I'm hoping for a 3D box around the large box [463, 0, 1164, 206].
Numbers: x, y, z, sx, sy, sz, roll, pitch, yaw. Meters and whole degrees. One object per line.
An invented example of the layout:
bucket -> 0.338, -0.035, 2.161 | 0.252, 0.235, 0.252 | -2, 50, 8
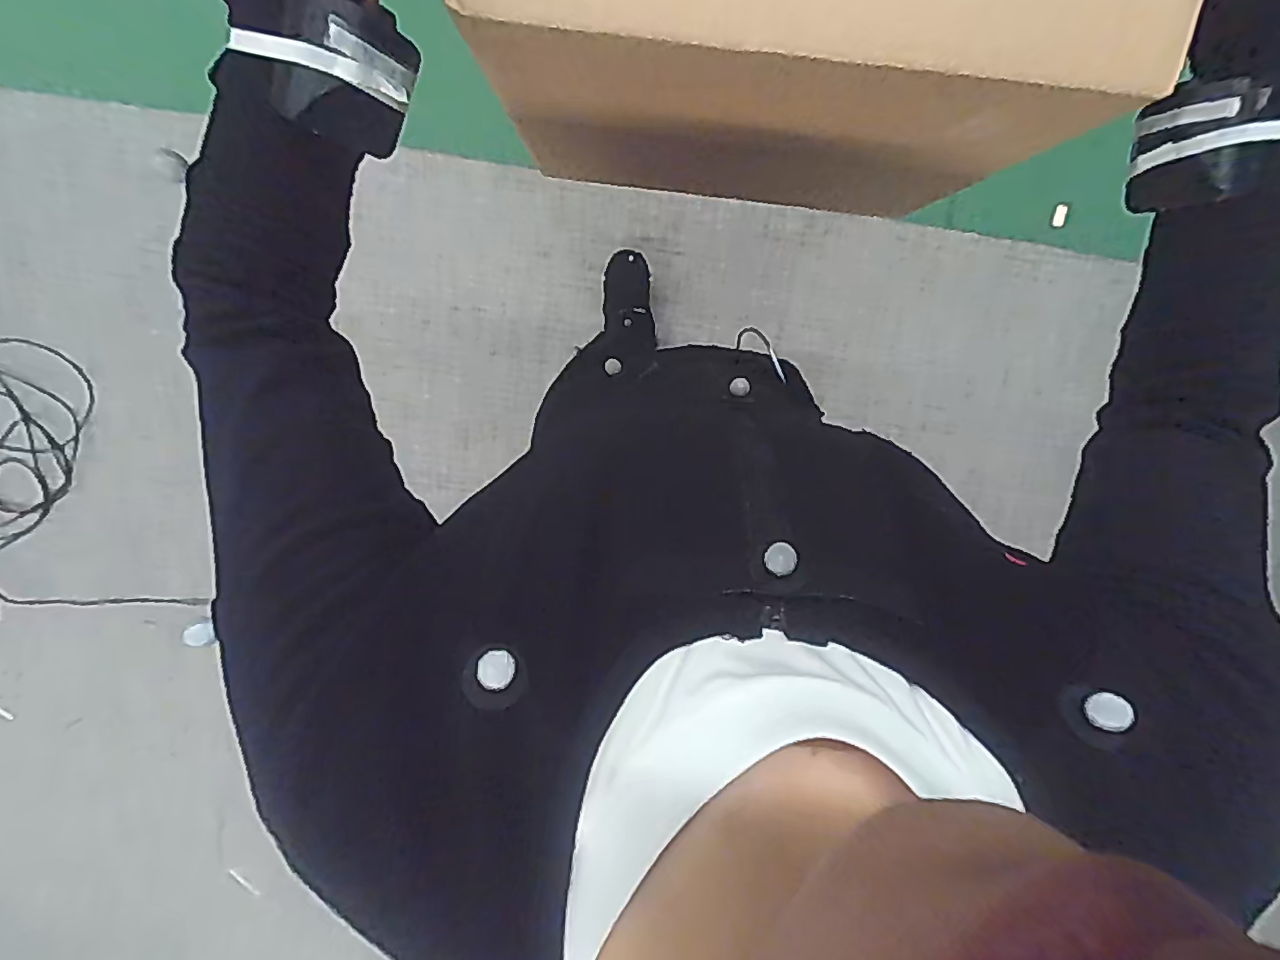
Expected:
large box -> 0.105, -0.428, 0.417 | 0.408, 0.320, 0.320 | 5, 105, -2
